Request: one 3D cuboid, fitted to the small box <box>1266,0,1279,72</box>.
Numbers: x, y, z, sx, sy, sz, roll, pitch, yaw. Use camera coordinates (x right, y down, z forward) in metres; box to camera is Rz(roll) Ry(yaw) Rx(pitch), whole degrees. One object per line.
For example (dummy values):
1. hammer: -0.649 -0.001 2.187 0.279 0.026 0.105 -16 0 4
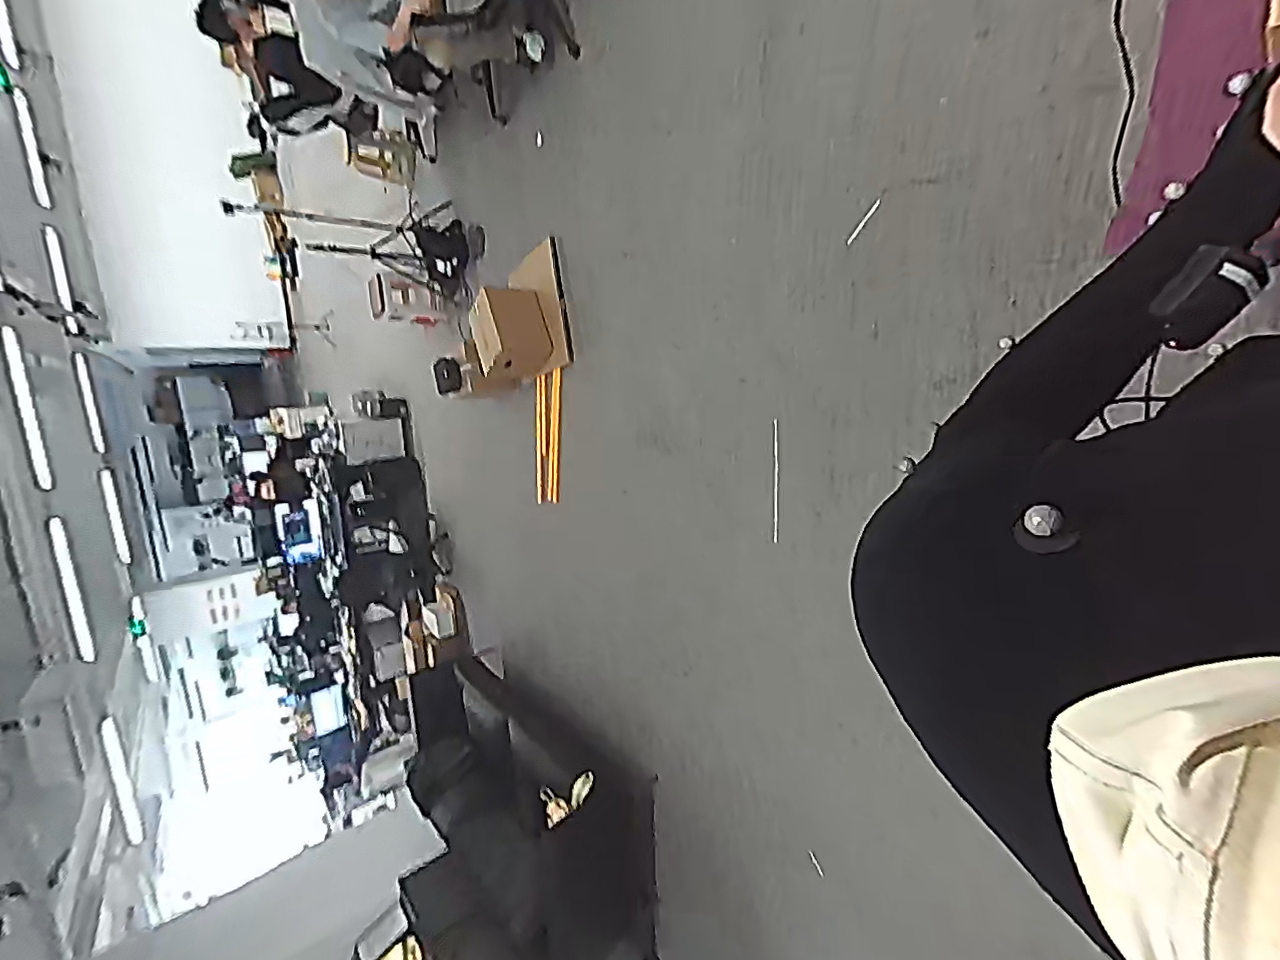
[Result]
1. small box: 0.666 -0.488 0.456 0.168 0.176 0.179 8 104 51
